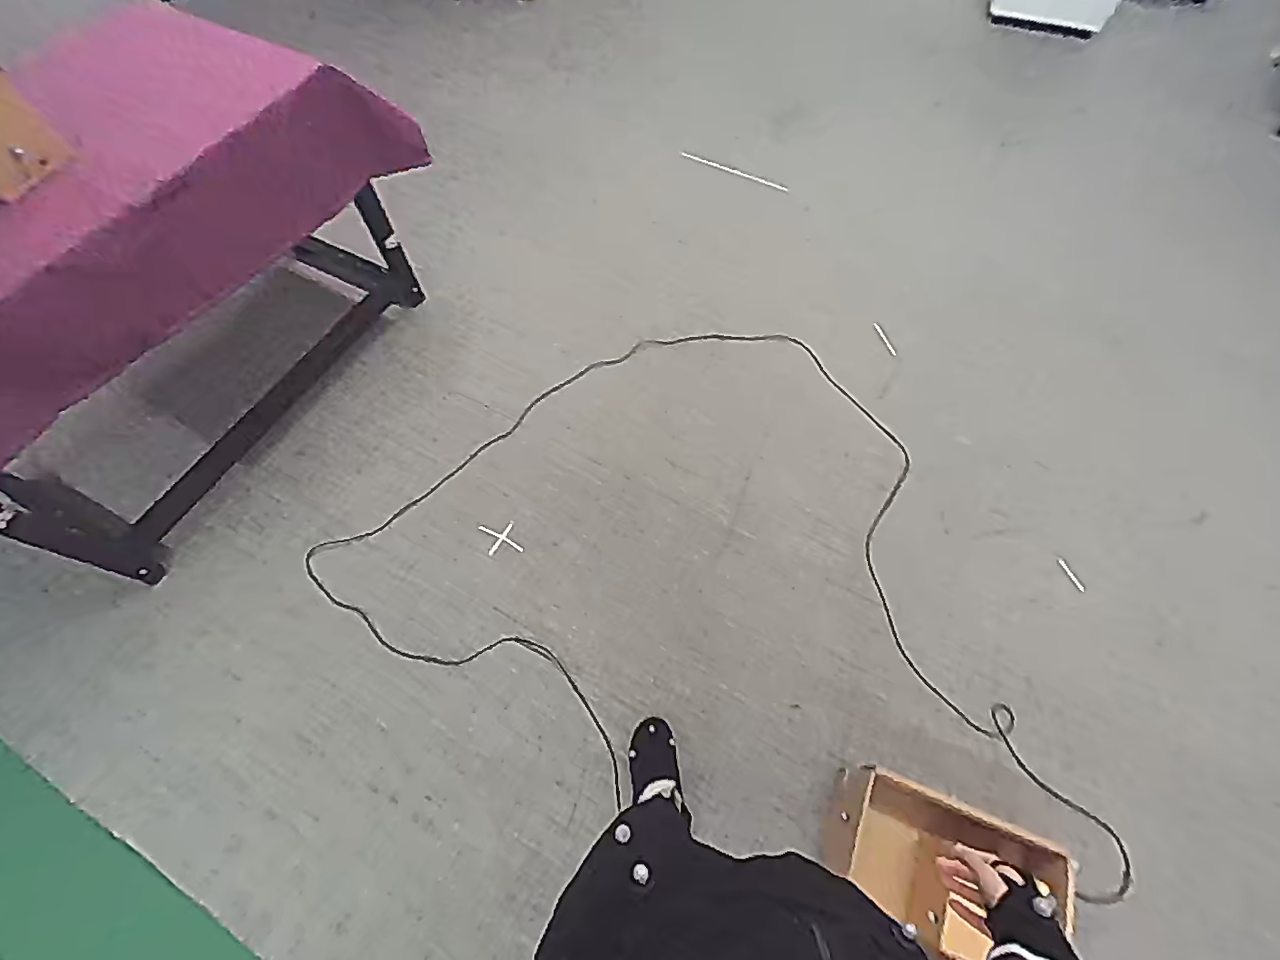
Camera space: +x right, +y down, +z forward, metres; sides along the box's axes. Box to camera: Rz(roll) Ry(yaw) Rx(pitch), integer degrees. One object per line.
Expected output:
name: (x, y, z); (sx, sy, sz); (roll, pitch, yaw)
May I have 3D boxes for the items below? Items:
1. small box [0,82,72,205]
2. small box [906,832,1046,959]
small box: (-1.266, -0.653, 1.018); (0.179, 0.176, 0.168); (19, 67, 8)
small box: (0.645, 0.823, 1.054); (0.168, 0.176, 0.179); (21, 68, 12)
